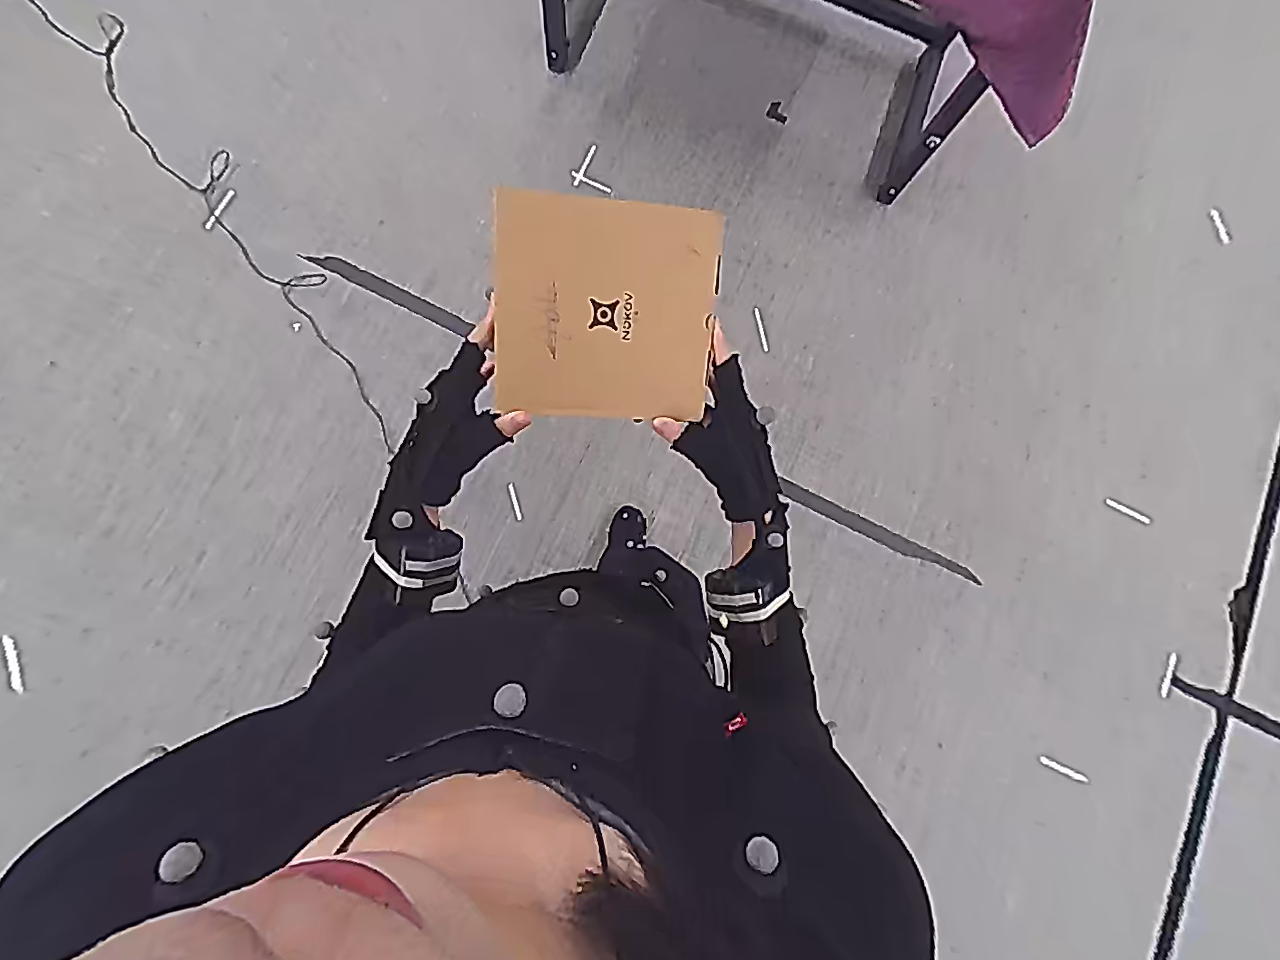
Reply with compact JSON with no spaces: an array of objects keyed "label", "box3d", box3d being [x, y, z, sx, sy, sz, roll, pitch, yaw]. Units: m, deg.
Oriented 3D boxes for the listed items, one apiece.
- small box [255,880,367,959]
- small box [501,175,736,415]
[{"label":"small box","box3d":[-0.750,1.060,1.219,0.168,0.176,0.179,28,79,-1]},{"label":"small box","box3d":[-0.031,-0.156,0.489,0.179,0.176,0.168,1,105,-10]}]
